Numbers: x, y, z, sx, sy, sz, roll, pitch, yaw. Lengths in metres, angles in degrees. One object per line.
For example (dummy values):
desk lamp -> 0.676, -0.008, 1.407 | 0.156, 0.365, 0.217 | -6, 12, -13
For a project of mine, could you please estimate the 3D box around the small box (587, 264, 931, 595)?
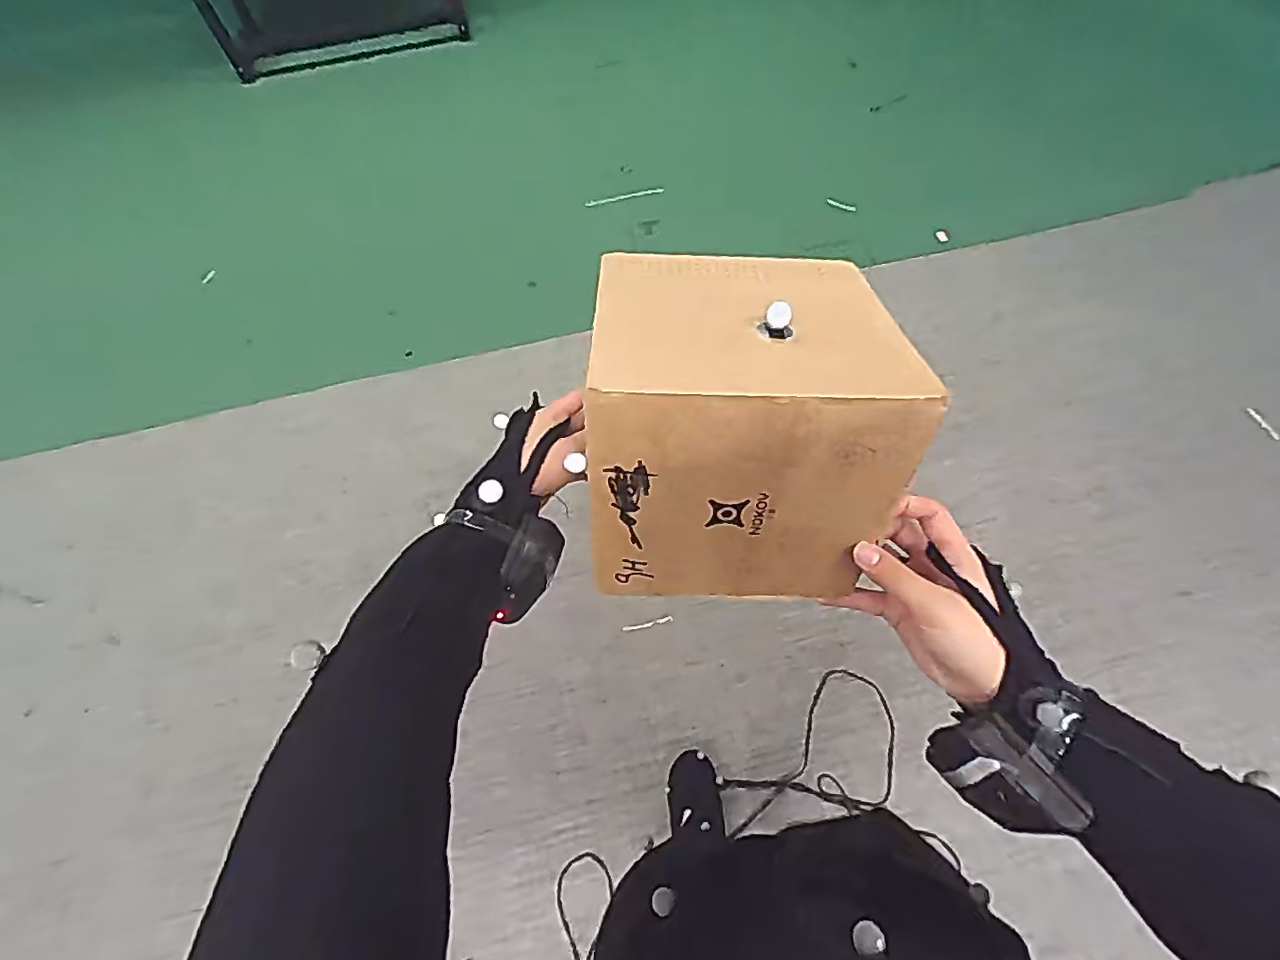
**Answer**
small box -> 0.055, -0.038, 0.377 | 0.179, 0.168, 0.176 | 2, 43, -2
